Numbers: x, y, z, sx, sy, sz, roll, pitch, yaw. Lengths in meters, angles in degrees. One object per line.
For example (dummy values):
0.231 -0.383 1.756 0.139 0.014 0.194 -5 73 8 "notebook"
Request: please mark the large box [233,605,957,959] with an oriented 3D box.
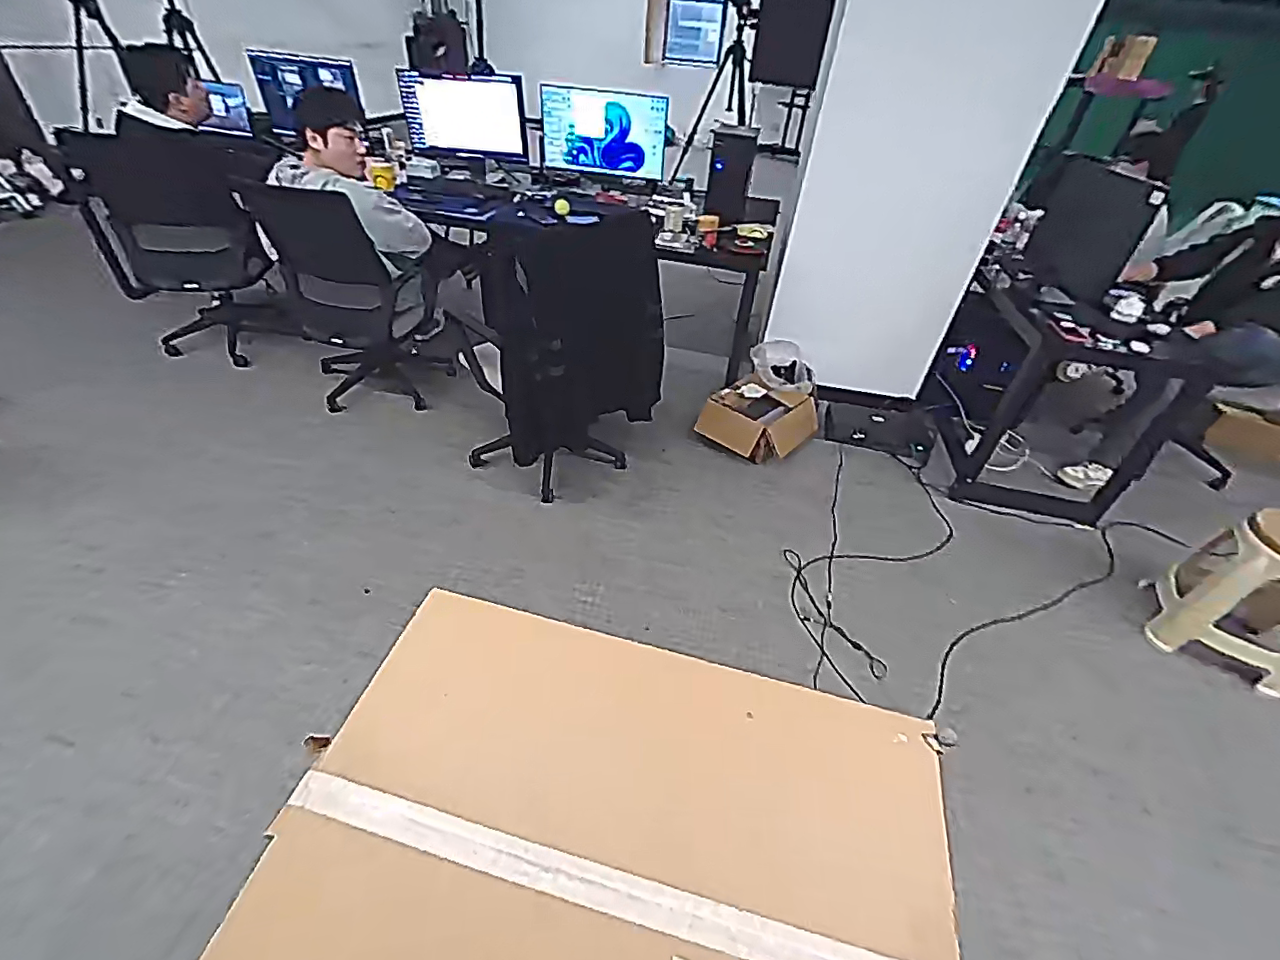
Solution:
-0.022 0.352 0.435 0.408 0.320 0.320 13 47 7 "large box"
